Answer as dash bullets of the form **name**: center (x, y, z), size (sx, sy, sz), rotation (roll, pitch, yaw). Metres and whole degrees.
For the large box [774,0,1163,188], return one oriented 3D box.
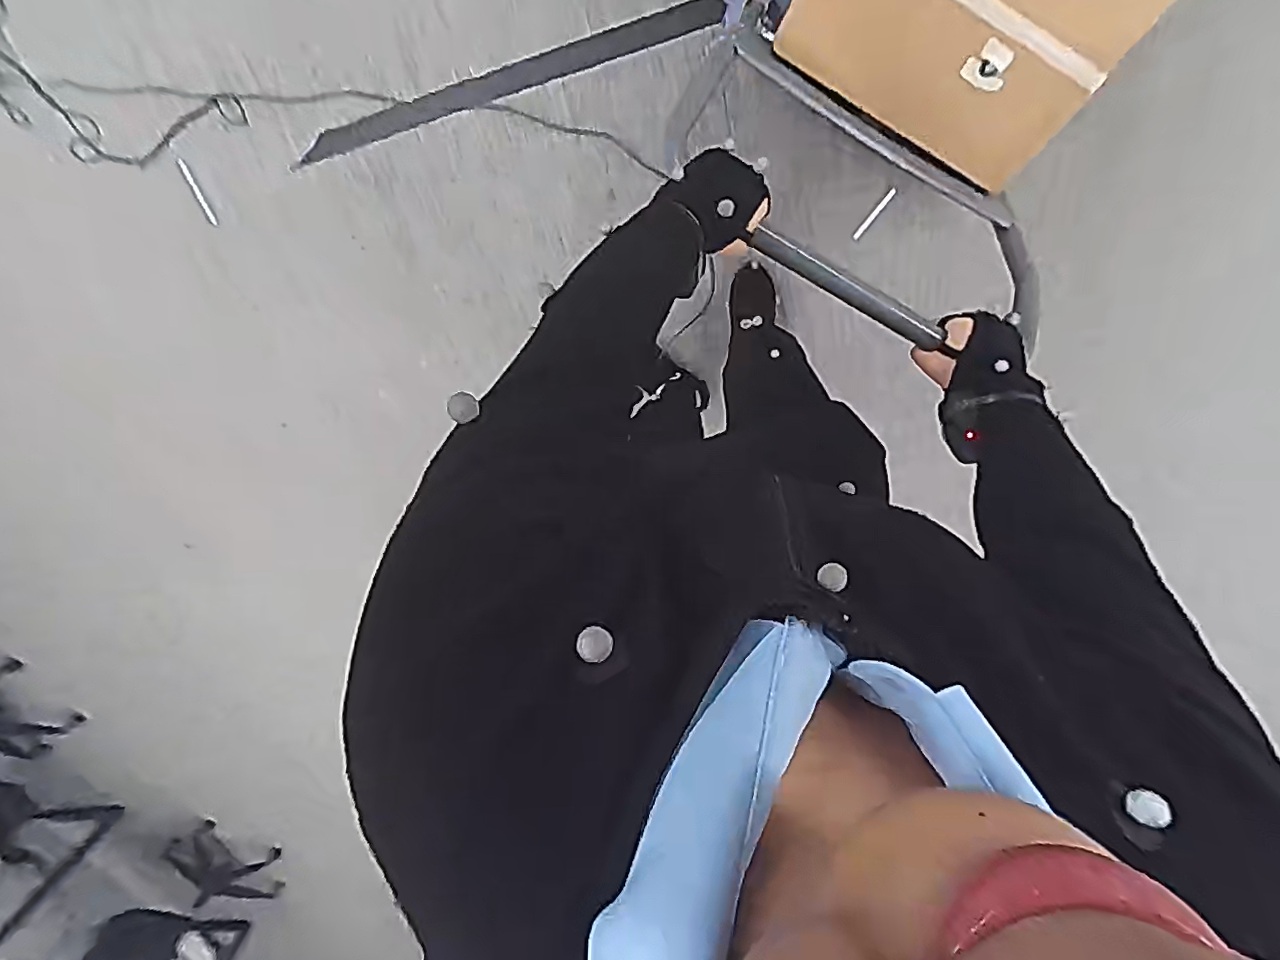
- **large box**: center (0.455, -0.718, 0.794), size (0.408, 0.320, 0.320), rotation (26, 137, -8)
